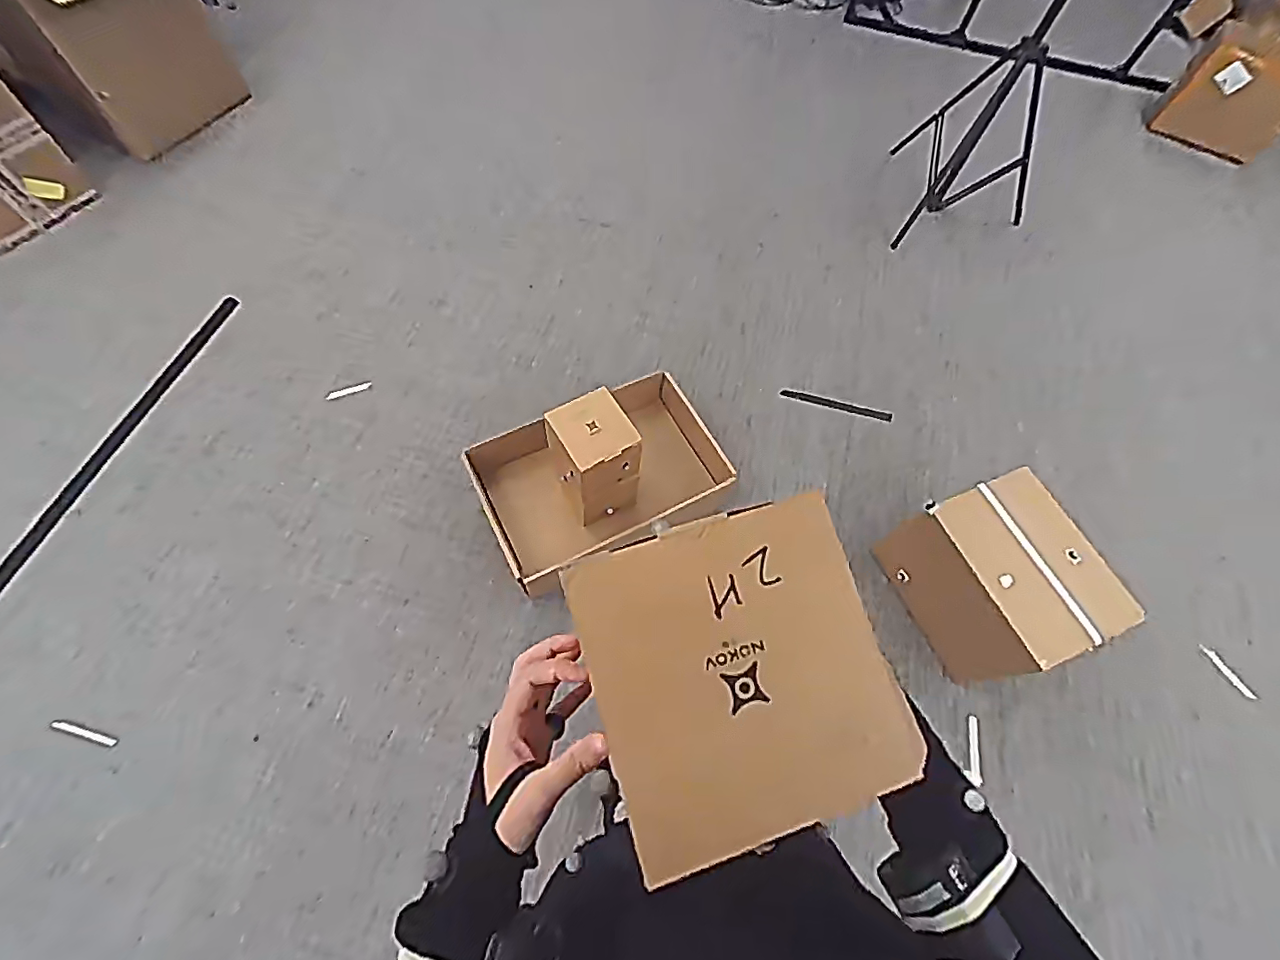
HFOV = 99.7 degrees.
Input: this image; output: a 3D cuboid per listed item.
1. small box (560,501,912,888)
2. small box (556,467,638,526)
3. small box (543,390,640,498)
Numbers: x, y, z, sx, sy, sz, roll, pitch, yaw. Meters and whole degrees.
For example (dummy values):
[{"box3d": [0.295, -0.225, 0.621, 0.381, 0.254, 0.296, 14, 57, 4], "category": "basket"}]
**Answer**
[{"box3d": [0.047, 0.129, 0.386, 0.168, 0.176, 0.179, -16, 80, -10], "category": "small box"}, {"box3d": [-0.121, -0.005, 1.446, 0.168, 0.176, 0.179, -25, 69, -15], "category": "small box"}, {"box3d": [-0.115, -0.076, 1.300, 0.168, 0.176, 0.179, -29, 68, -18], "category": "small box"}]
